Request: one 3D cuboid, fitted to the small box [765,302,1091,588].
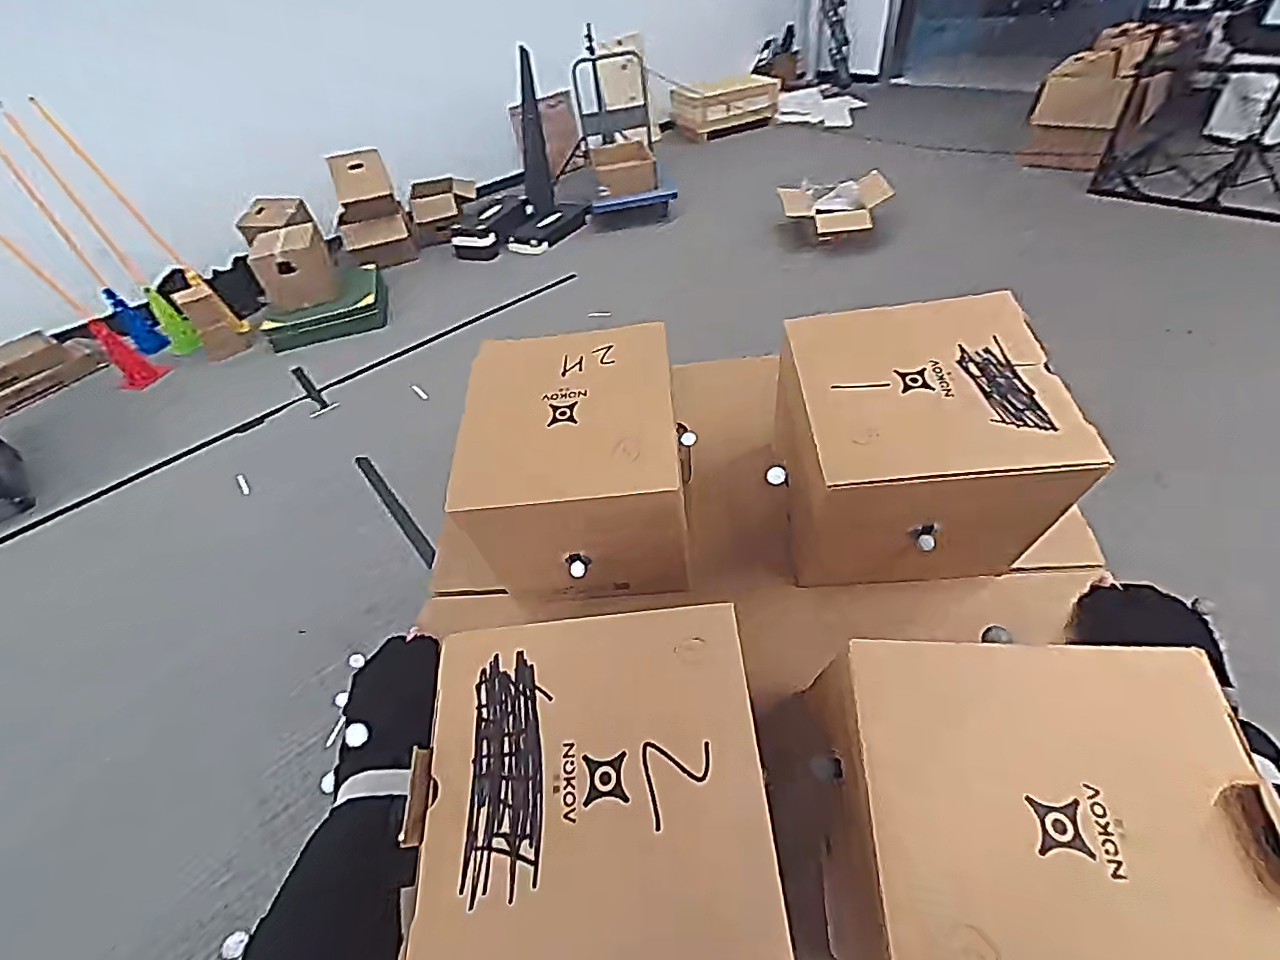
[{"bbox_3d":[0.207,-0.020,0.454,0.179,0.176,0.168,-6,55,7],"label":"small box"}]

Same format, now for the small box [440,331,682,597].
[{"bbox_3d":[-0.053,-0.003,0.485,0.168,0.176,0.179,-5,54,5],"label":"small box"}]
